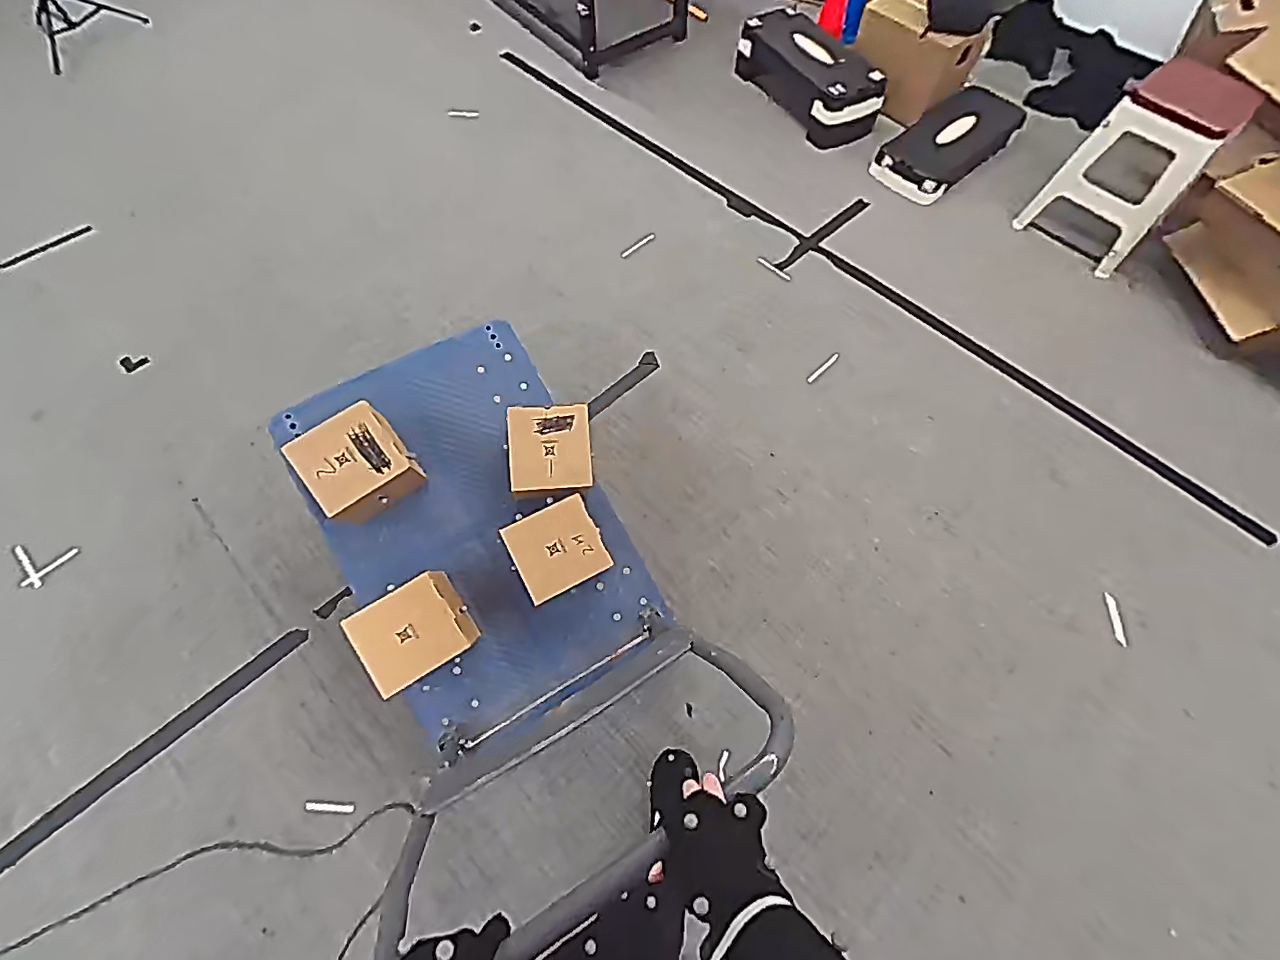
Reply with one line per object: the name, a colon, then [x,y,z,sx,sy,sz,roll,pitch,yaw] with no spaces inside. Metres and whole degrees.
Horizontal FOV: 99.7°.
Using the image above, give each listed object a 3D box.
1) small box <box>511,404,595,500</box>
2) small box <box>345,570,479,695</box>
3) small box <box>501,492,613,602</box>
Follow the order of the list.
small box: [-0.191,-0.057,1.178,0.168,0.176,0.179,-4,82,-9]
small box: [-0.442,0.296,1.080,0.179,0.176,0.168,-31,86,-14]
small box: [-0.173,0.145,1.148,0.179,0.176,0.168,-26,86,-12]
